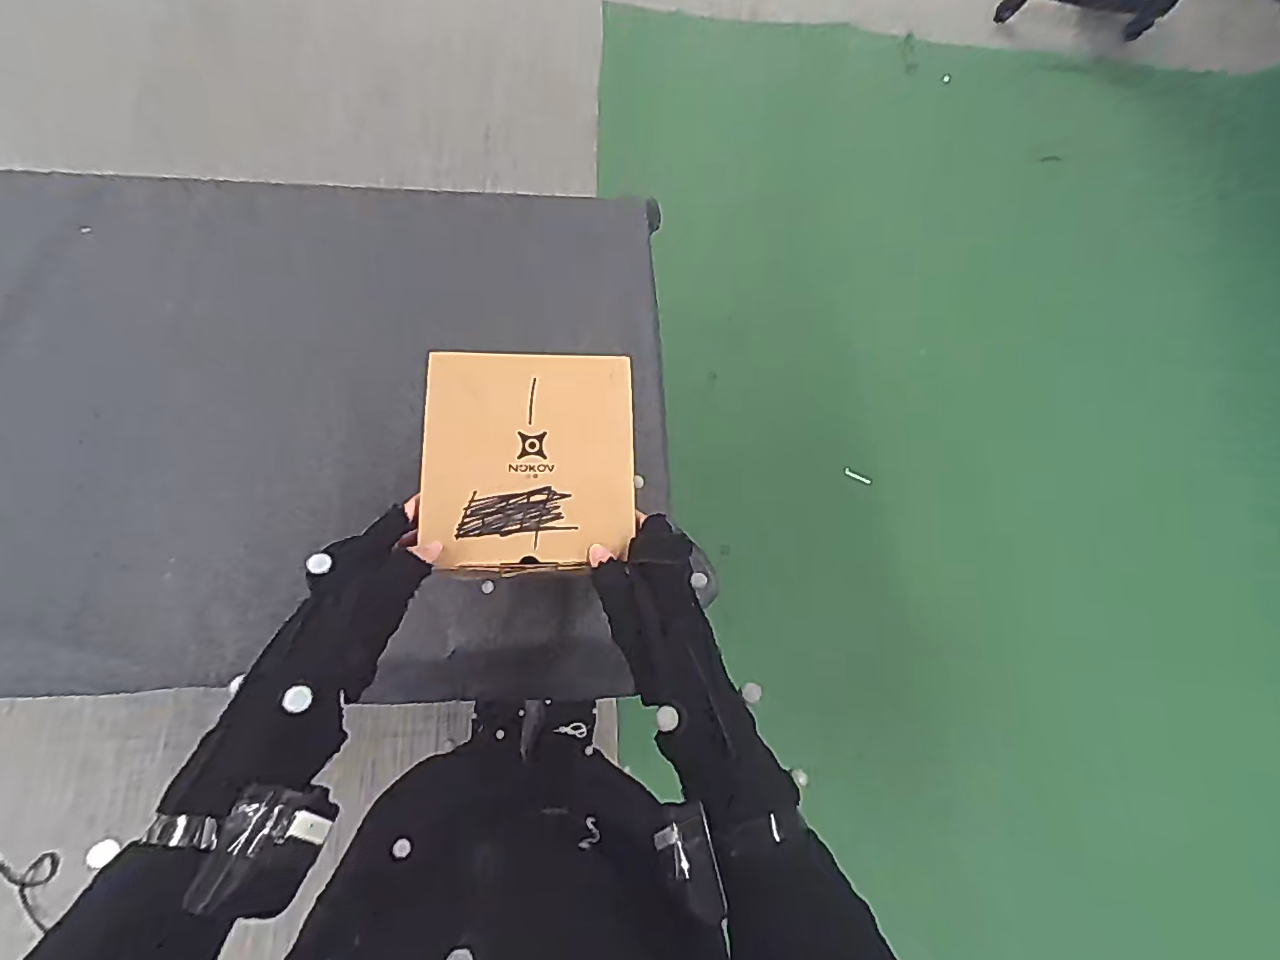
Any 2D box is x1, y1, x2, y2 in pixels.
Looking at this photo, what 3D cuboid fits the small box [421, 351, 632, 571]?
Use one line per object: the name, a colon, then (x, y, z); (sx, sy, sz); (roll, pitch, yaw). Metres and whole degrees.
small box: (-0.095, -0.004, 0.513); (0.168, 0.176, 0.179); (0, 76, -7)
